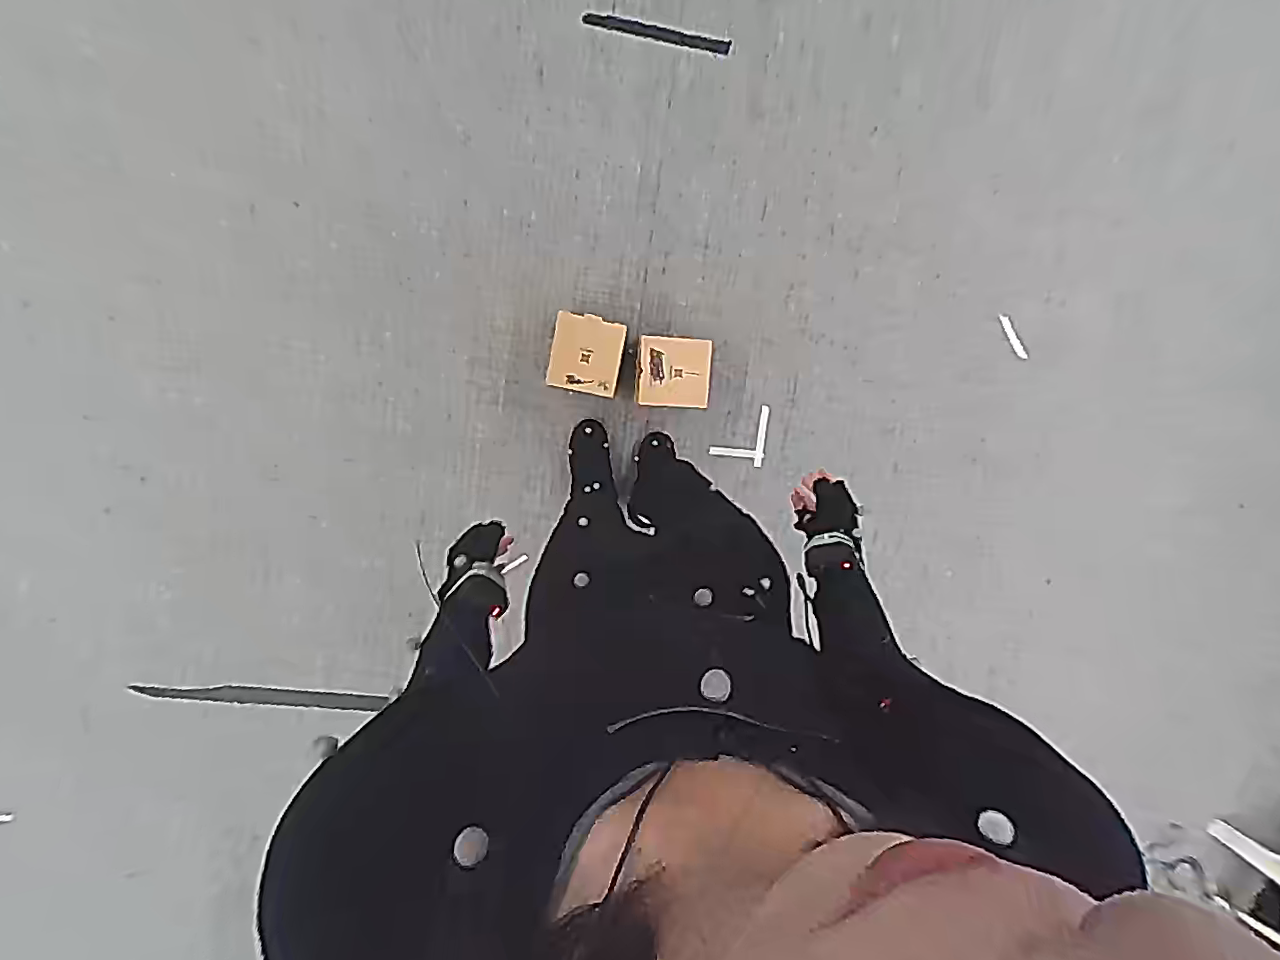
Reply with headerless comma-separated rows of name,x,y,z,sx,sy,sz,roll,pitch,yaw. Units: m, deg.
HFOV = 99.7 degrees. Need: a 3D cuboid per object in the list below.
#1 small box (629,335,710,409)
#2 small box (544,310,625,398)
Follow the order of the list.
small box,0.067,-0.274,1.387,0.179,0.176,0.168,2,100,-9
small box,-0.142,-0.309,1.353,0.168,0.176,0.179,11,98,-8
